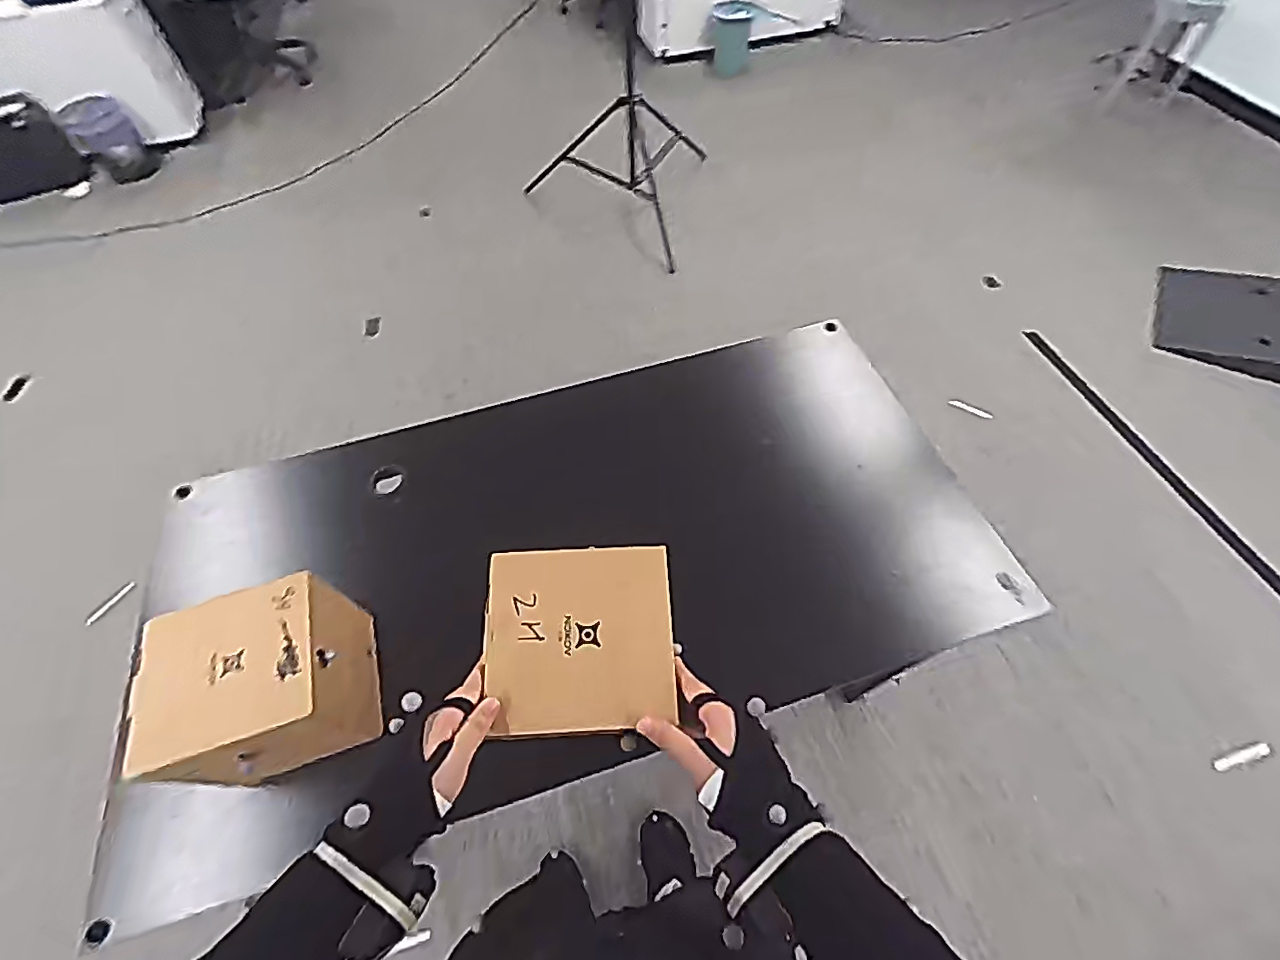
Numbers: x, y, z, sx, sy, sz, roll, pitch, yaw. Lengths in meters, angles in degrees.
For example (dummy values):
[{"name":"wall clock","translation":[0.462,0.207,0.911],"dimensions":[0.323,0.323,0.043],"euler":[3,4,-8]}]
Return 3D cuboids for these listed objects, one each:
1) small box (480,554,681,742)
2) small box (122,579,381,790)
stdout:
[{"name":"small box","translation":[-0.055,0.182,0.572],"dimensions":[0.179,0.176,0.168],"euler":[-2,64,-1]},{"name":"small box","translation":[-0.433,0.245,0.633],"dimensions":[0.179,0.176,0.168],"euler":[-18,59,-9]}]
